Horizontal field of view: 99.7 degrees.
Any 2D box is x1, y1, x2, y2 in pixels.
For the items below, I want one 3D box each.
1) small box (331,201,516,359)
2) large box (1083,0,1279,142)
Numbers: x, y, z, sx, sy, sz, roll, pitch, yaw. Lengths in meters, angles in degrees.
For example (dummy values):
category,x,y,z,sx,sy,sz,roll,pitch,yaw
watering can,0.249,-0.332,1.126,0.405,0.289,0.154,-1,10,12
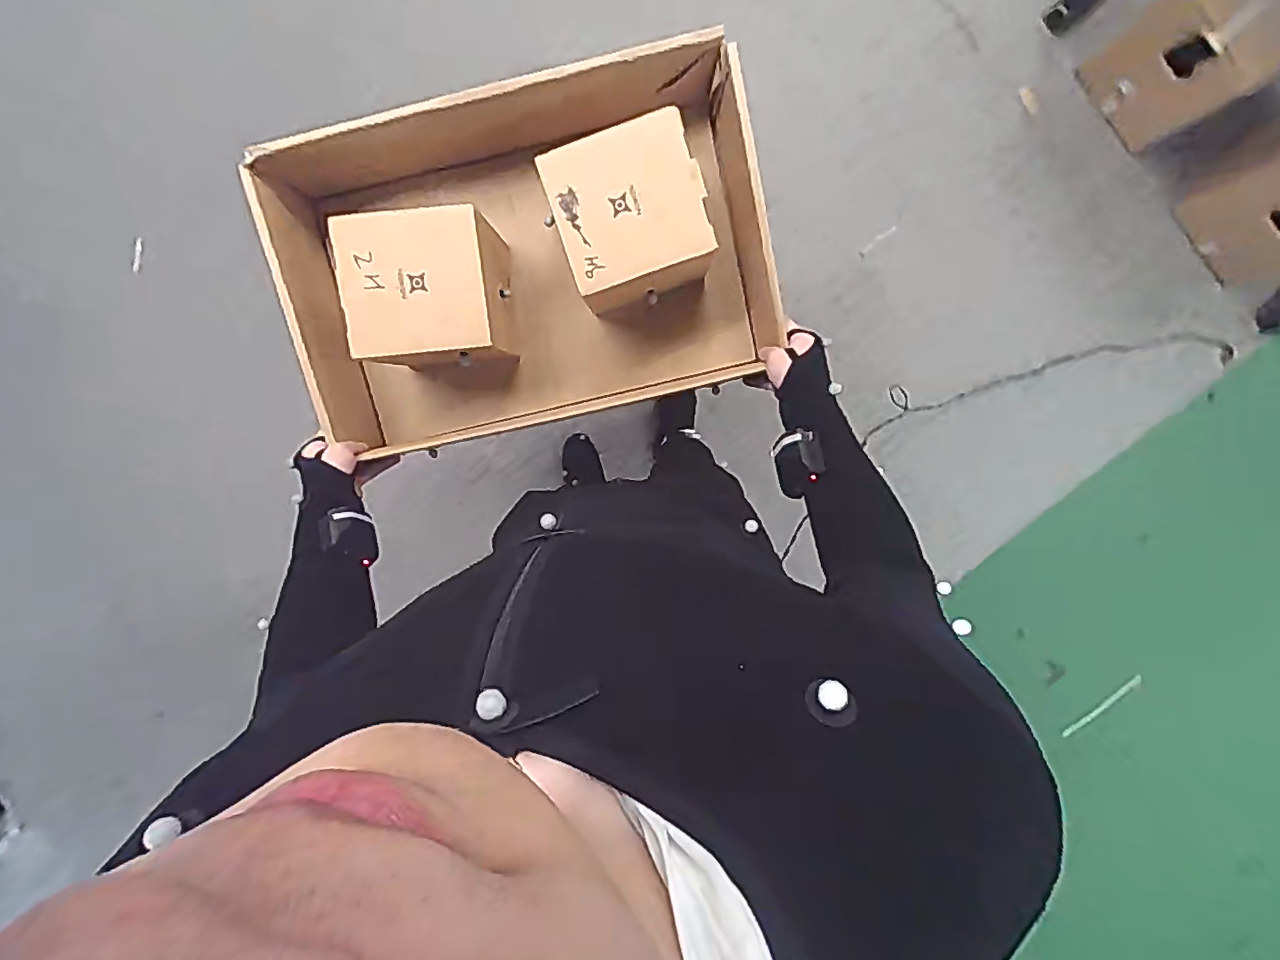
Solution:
category,x,y,z,sx,sy,sz,roll,pitch,yaw
small box,-0.267,-0.251,0.714,0.179,0.176,0.168,-4,99,0
large box,1.506,-1.204,1.404,0.408,0.320,0.320,-40,97,2
